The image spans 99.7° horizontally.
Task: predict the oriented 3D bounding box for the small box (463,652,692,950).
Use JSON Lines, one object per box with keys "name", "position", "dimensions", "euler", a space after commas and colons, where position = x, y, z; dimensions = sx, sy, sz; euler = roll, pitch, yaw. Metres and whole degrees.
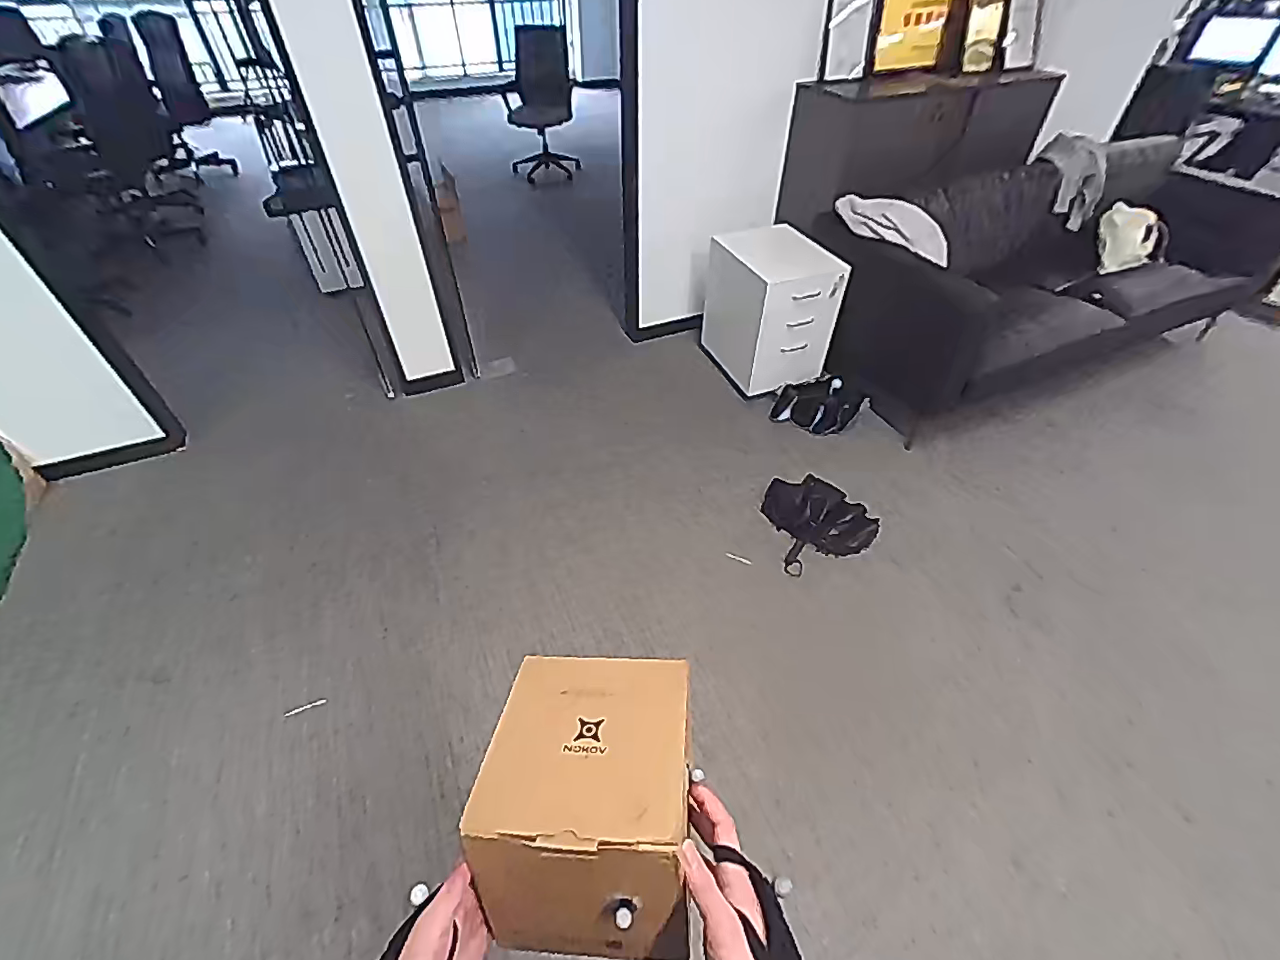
{"name": "small box", "position": [-0.037, 0.283, 0.494], "dimensions": [0.168, 0.176, 0.179], "euler": [0, 26, 6]}
